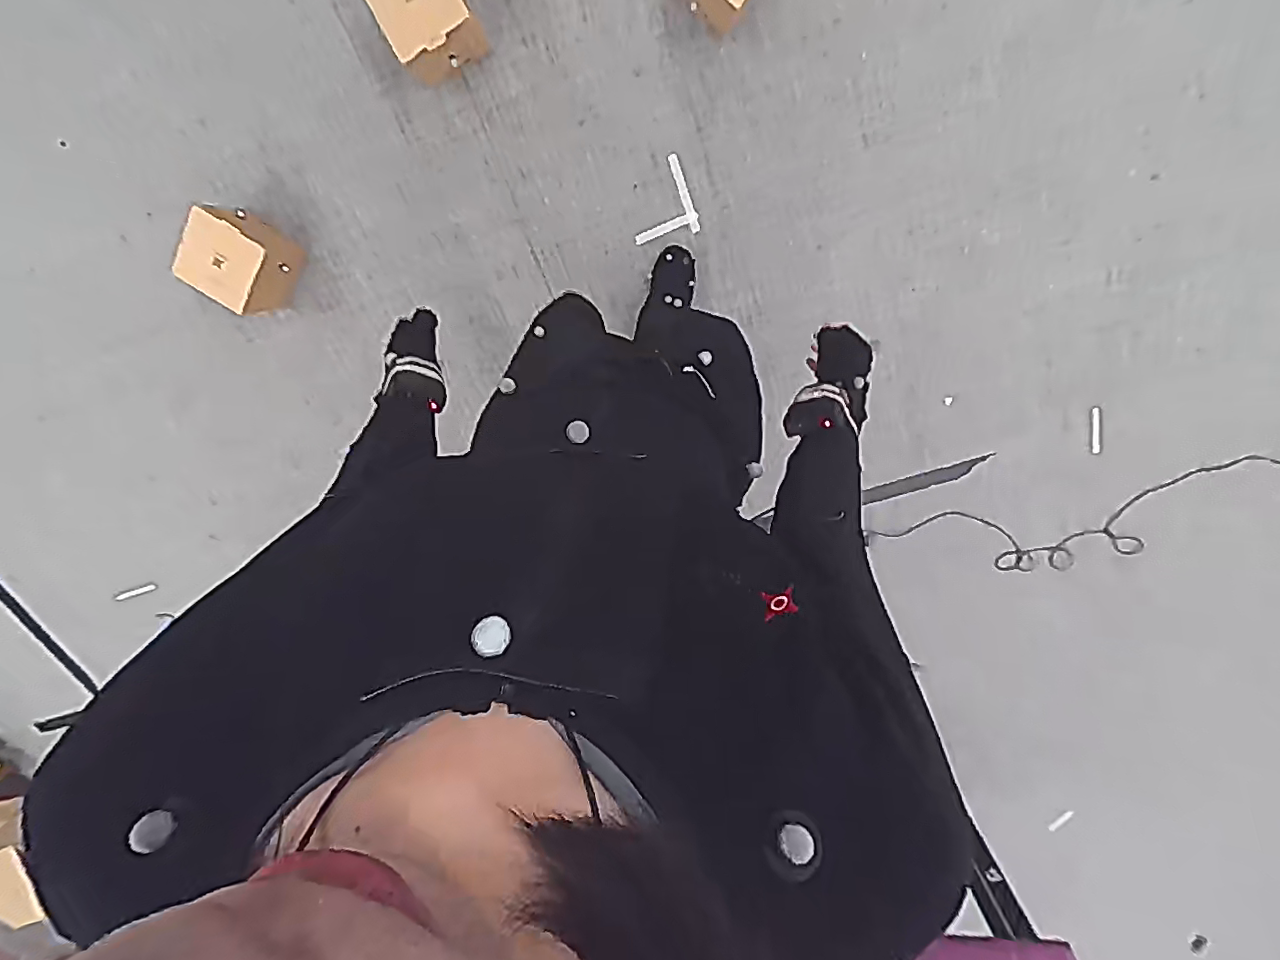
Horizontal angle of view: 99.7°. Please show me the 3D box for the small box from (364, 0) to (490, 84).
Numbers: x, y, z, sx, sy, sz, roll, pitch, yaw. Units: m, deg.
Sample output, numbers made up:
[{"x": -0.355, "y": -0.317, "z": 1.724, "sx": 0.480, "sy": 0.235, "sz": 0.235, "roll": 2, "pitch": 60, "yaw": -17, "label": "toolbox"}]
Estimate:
[{"x": -0.428, "y": -0.934, "z": 1.085, "sx": 0.168, "sy": 0.176, "sz": 0.179, "roll": -25, "pitch": 111, "yaw": 10, "label": "small box"}]

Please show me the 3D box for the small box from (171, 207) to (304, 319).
[{"x": -0.933, "y": -0.508, "z": 1.270, "sx": 0.168, "sy": 0.176, "sz": 0.179, "roll": 33, "pitch": 110, "yaw": -11, "label": "small box"}]

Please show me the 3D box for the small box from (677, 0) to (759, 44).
[{"x": 0.172, "y": -1.009, "z": 1.045, "sx": 0.168, "sy": 0.176, "sz": 0.179, "roll": 35, "pitch": 110, "yaw": -13, "label": "small box"}]
